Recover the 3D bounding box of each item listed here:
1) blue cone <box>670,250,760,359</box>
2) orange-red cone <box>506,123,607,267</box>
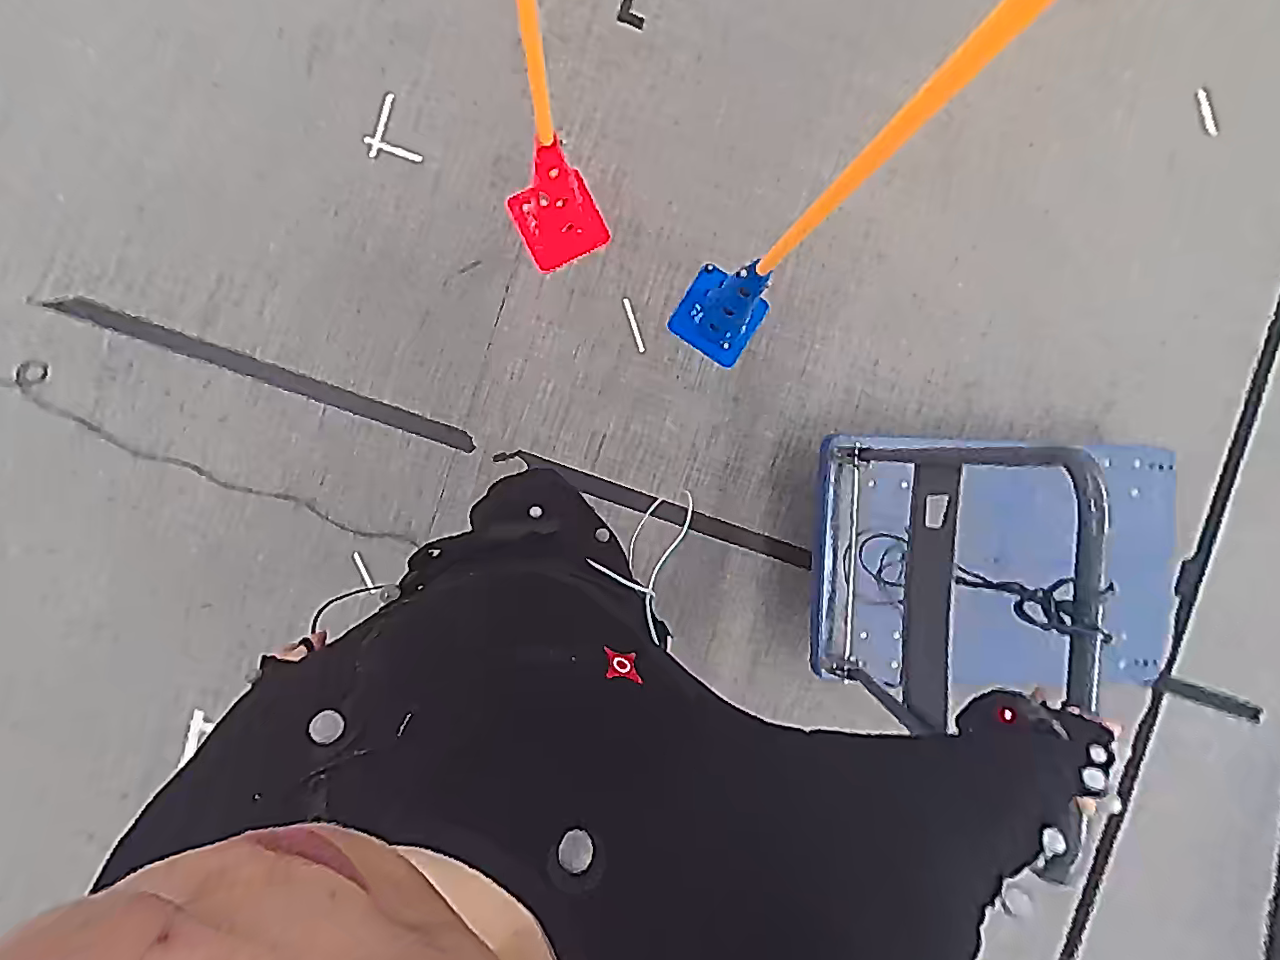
[{"bbox_3d":[0.201,-0.413,1.188,0.192,0.380,0.193,33,90,-5],"label":"blue cone"},{"bbox_3d":[-0.184,-0.624,1.130,0.198,0.360,0.199,-26,96,-3],"label":"orange-red cone"}]
